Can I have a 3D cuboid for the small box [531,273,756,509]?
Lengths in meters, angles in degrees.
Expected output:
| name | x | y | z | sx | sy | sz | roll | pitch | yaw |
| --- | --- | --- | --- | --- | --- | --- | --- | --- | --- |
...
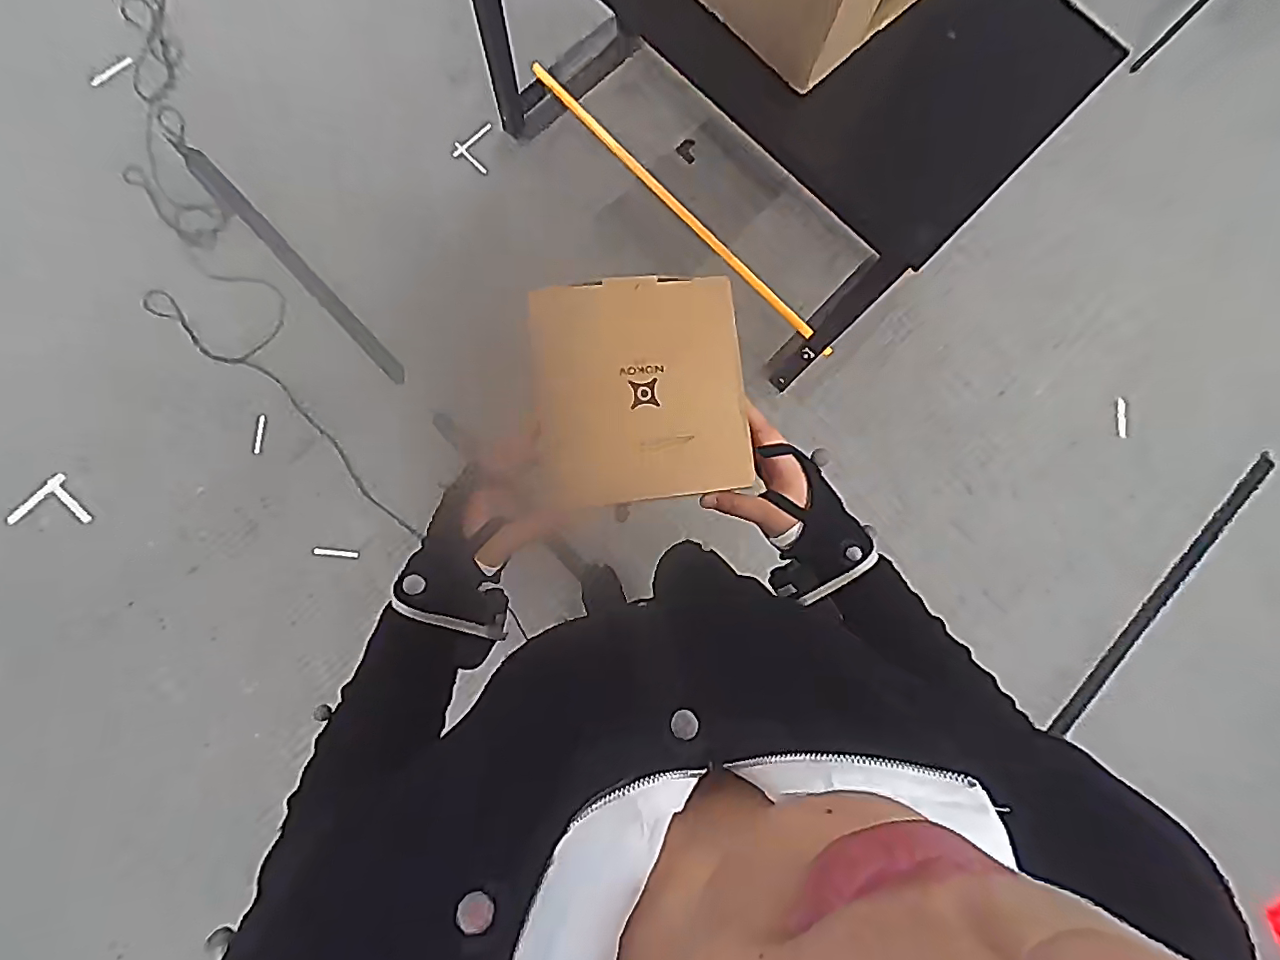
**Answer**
| name | x | y | z | sx | sy | sz | roll | pitch | yaw |
| --- | --- | --- | --- | --- | --- | --- | --- | --- | --- |
| small box | -0.010 | -0.068 | 0.496 | 0.168 | 0.176 | 0.179 | -6 | 88 | -9 |
